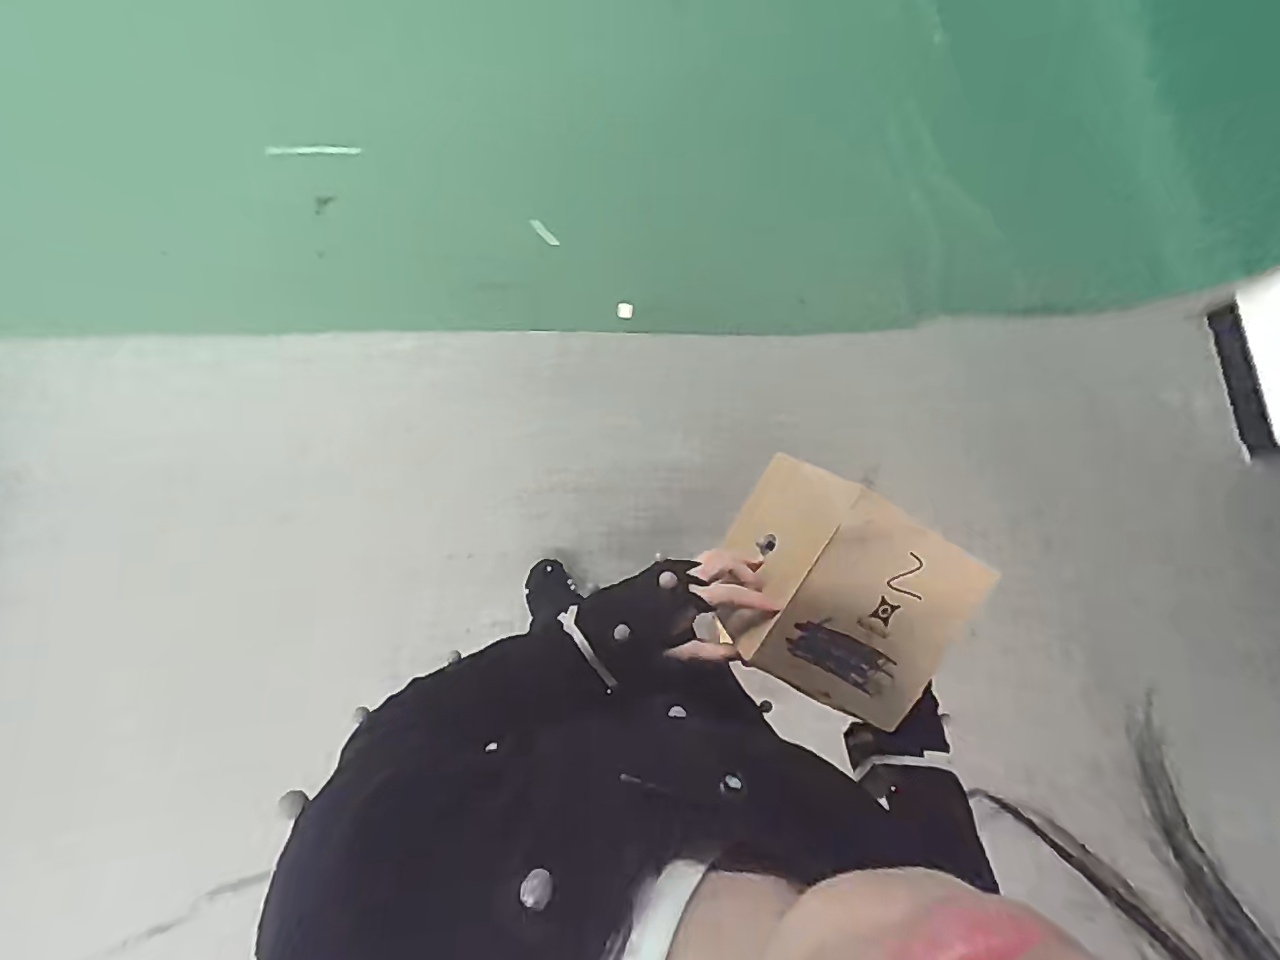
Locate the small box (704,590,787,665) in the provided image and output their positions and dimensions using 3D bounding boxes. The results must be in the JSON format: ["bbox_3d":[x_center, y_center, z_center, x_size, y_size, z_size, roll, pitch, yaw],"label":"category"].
[{"bbox_3d":[0.271,0.378,1.407,0.179,0.176,0.168,5,78,0],"label":"small box"}]
